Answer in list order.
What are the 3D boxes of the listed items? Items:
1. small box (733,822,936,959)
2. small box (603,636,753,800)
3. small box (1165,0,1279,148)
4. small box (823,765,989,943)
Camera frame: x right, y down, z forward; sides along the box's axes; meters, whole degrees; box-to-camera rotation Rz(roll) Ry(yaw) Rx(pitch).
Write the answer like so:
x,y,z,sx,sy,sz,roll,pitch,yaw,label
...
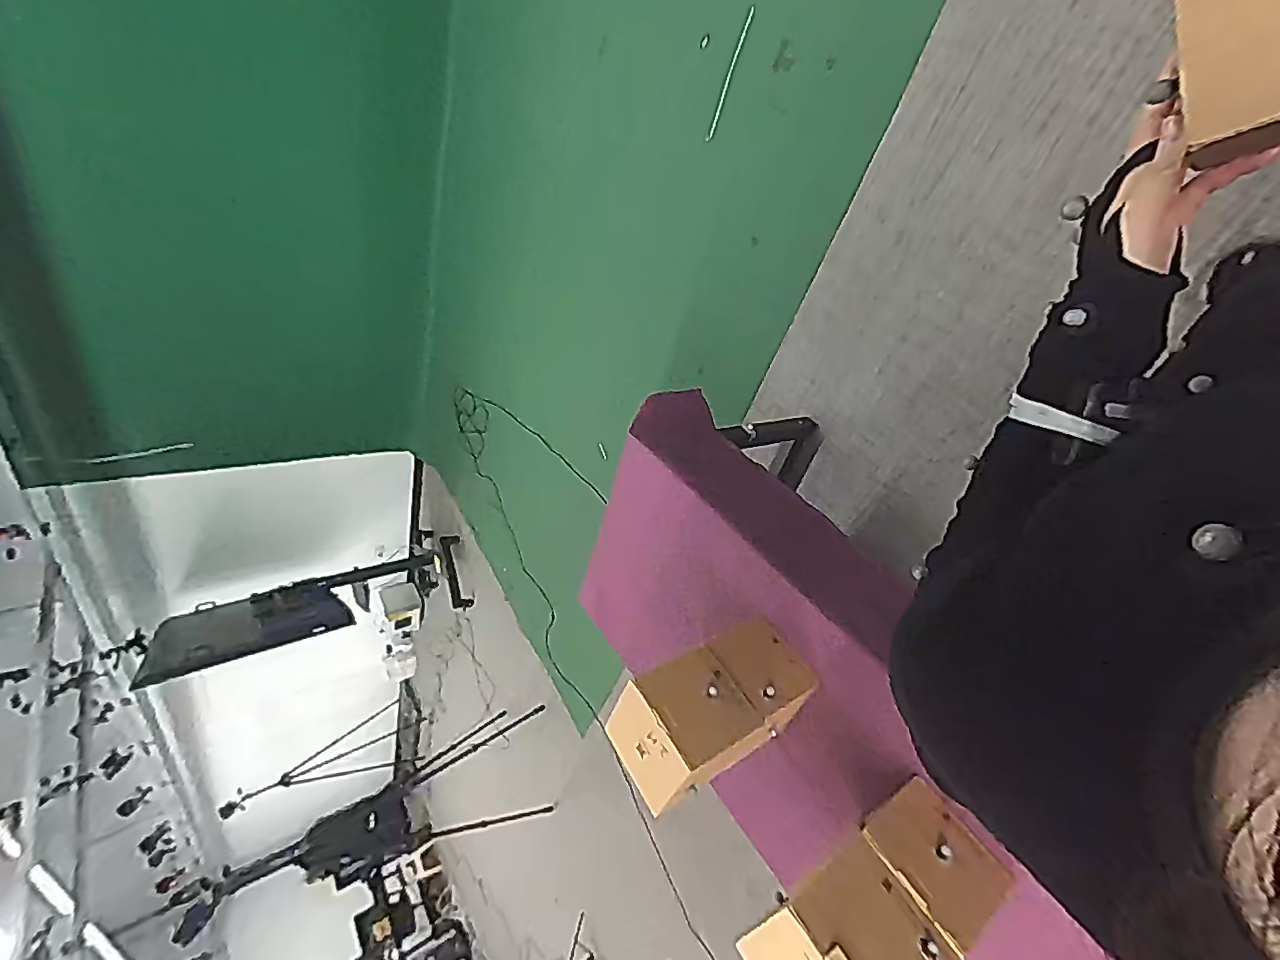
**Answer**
x,y,z,sx,sy,sz,roll,pitch,yaw,label
0.266,0.613,0.738,0.168,0.176,0.179,49,135,33,small box
0.065,0.405,0.935,0.168,0.176,0.179,49,134,31,small box
0.357,-0.277,0.246,0.168,0.176,0.179,-2,107,46,small box
0.397,0.581,0.833,0.168,0.176,0.179,48,133,33,small box
